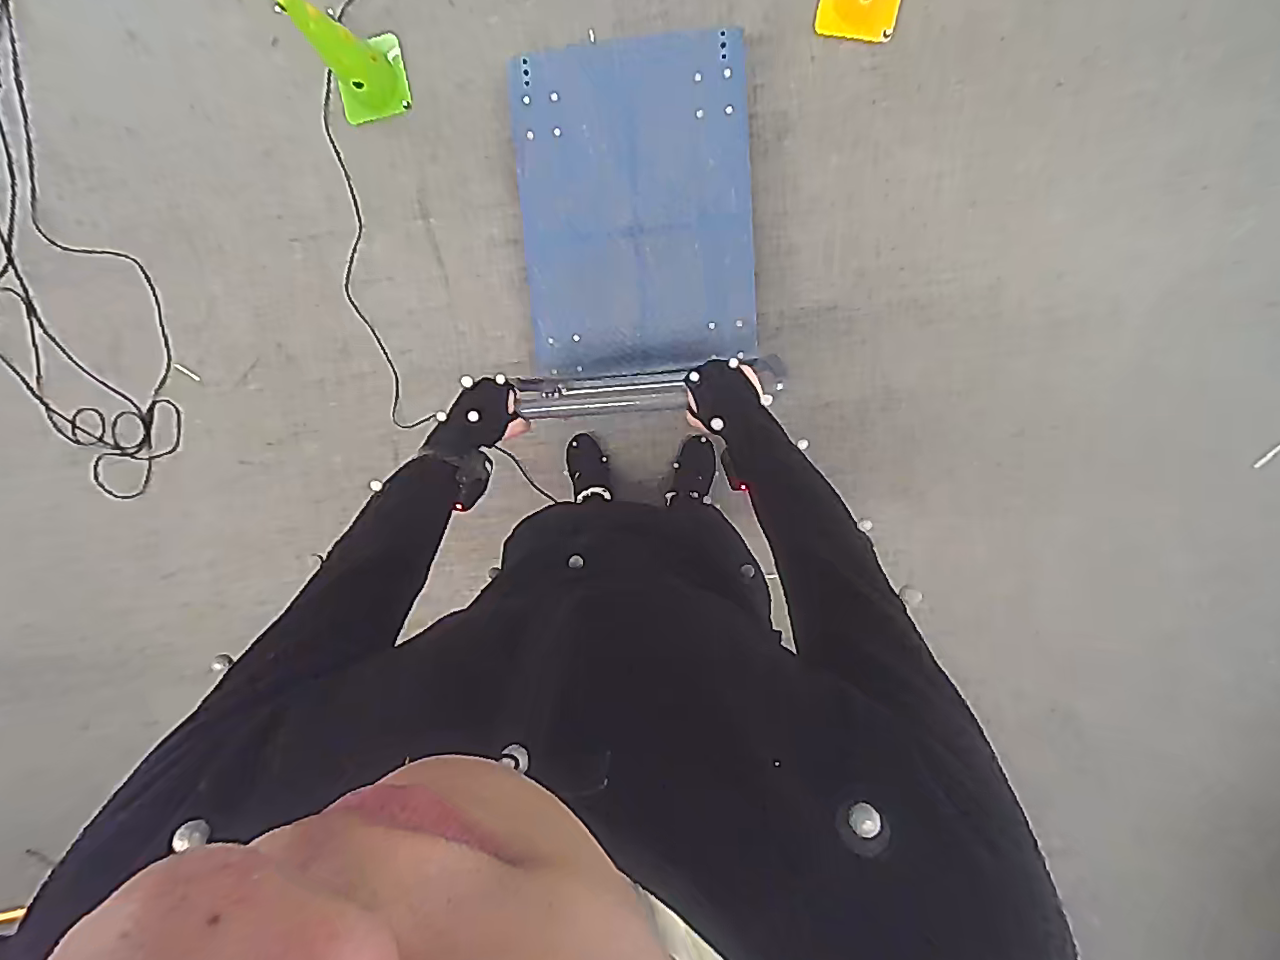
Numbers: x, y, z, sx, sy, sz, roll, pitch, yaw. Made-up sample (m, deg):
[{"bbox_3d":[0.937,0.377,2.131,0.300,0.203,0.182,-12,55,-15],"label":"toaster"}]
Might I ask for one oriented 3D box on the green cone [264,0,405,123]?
[{"bbox_3d":[-0.782,-1.092,1.332,0.202,0.368,0.200,-10,98,8],"label":"green cone"}]
